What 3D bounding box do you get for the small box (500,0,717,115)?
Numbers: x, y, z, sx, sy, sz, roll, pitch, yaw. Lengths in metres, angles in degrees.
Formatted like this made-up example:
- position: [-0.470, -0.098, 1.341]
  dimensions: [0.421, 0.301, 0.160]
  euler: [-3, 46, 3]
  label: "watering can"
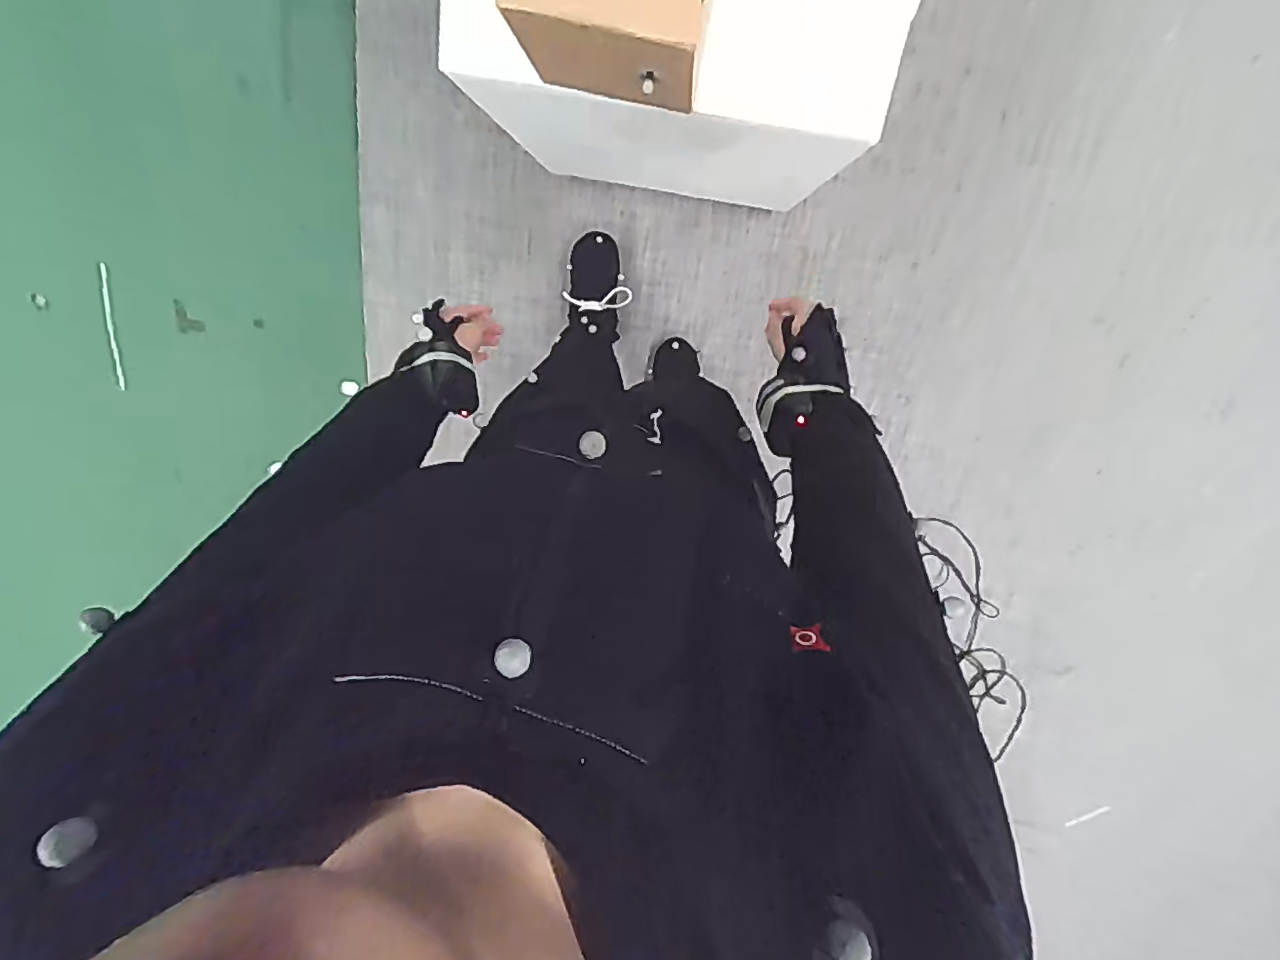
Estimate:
- position: [-0.013, -0.473, 0.509]
  dimensions: [0.179, 0.176, 0.168]
  euler: [12, 107, 1]
  label: "small box"
